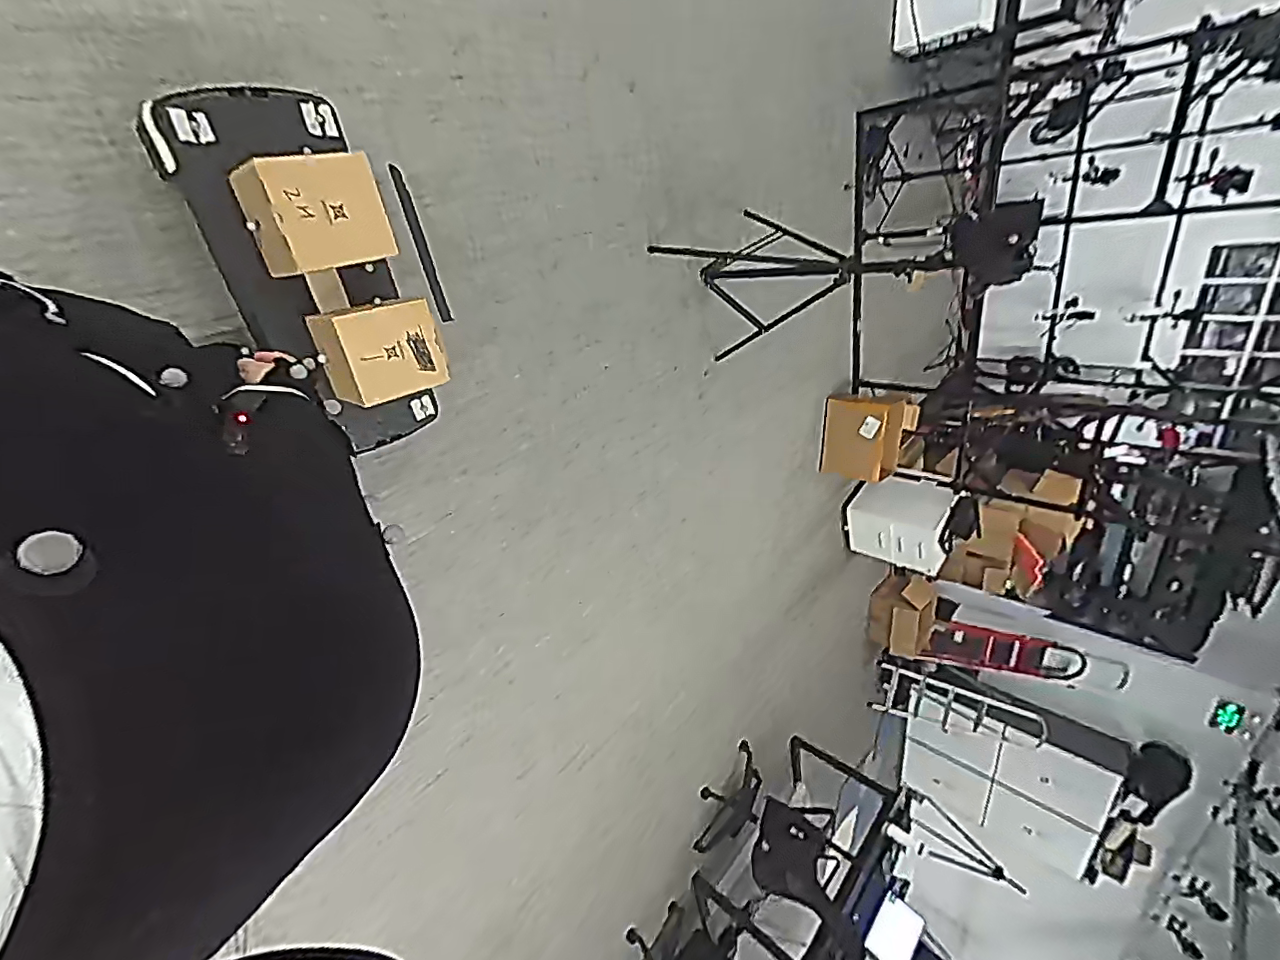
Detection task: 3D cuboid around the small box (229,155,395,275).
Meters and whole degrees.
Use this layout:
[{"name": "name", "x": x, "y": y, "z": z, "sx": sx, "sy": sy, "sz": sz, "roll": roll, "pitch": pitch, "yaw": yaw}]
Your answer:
[{"name": "small box", "x": -0.570, "y": -0.459, "z": 0.943, "sx": 0.179, "sy": 0.176, "sz": 0.168, "roll": -32, "pitch": 123, "yaw": -38}]

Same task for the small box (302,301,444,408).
[{"name": "small box", "x": -0.523, "y": -0.255, "z": 1.063, "sx": 0.179, "sy": 0.176, "sz": 0.168, "roll": -29, "pitch": 122, "yaw": -37}]

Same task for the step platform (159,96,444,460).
[{"name": "step platform", "x": -0.663, "y": -0.386, "z": 1.131, "sx": 0.286, "sy": 0.204, "sz": 0.684, "roll": -33, "pitch": 124, "yaw": -37}]
